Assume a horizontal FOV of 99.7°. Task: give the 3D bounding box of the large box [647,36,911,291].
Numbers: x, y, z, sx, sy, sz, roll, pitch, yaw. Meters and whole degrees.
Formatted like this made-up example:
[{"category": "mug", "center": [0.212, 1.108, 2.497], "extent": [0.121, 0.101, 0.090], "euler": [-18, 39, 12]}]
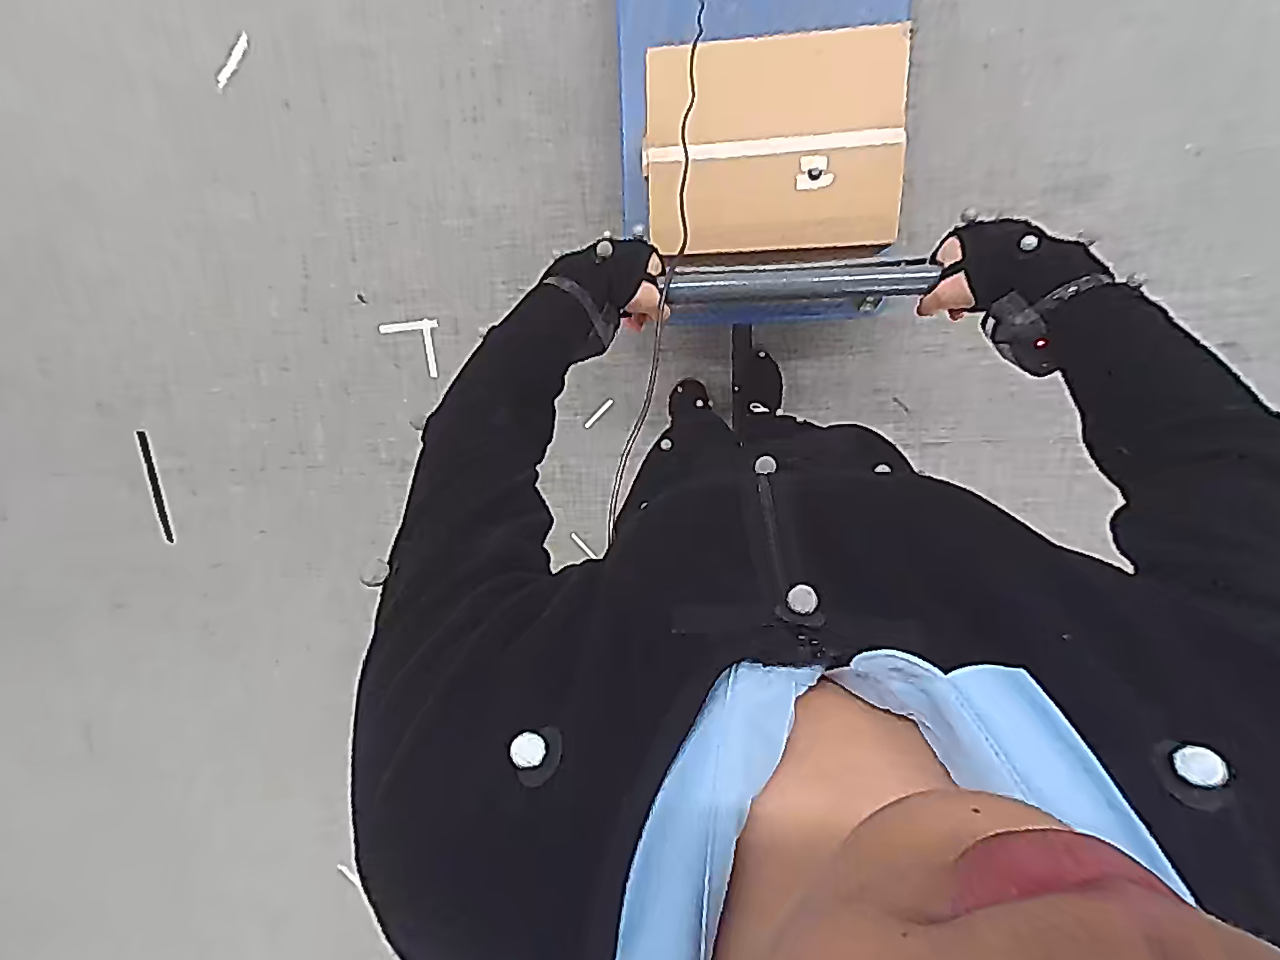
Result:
[{"category": "large box", "center": [0.229, -0.543, 1.005], "extent": [0.408, 0.320, 0.320], "euler": [0, 103, 6]}]
